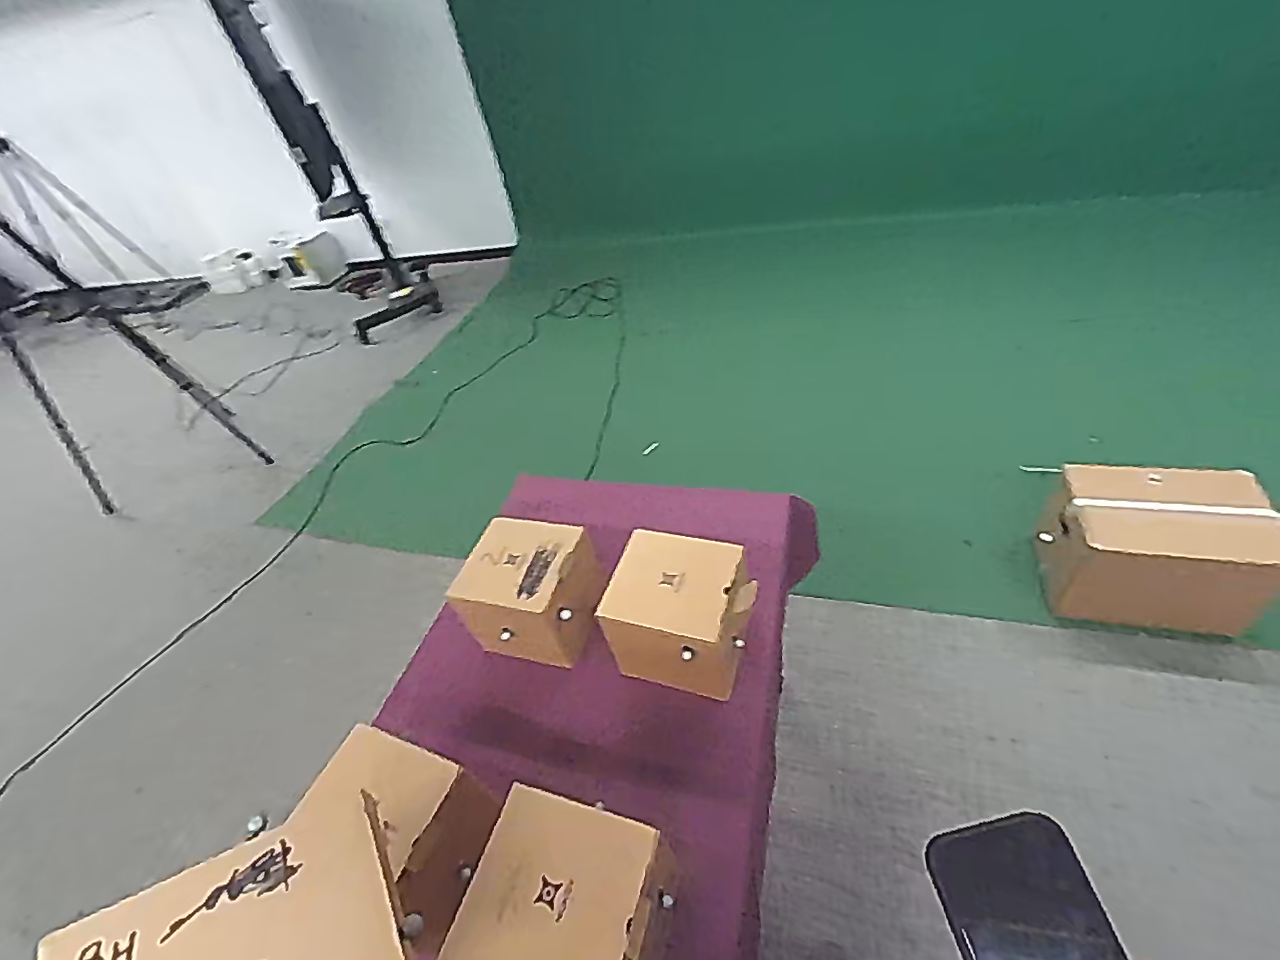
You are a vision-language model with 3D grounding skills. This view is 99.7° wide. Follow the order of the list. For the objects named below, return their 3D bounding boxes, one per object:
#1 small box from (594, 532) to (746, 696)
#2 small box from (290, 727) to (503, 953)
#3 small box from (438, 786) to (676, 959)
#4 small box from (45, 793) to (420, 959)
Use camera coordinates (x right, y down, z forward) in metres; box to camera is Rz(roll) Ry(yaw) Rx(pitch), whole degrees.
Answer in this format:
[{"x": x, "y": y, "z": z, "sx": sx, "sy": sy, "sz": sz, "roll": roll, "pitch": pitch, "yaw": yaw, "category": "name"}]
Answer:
[{"x": 0.056, "y": 0.204, "z": 0.825, "sx": 0.179, "sy": 0.176, "sz": 0.168, "roll": 7, "pitch": 46, "yaw": 22, "category": "small box"}, {"x": -0.301, "y": 0.442, "z": 0.666, "sx": 0.179, "sy": 0.176, "sz": 0.168, "roll": 8, "pitch": 47, "yaw": 23, "category": "small box"}, {"x": -0.070, "y": 0.464, "z": 0.579, "sx": 0.179, "sy": 0.176, "sz": 0.168, "roll": 4, "pitch": 44, "yaw": 21, "category": "small box"}, {"x": -0.253, "y": 0.343, "z": 0.376, "sx": 0.168, "sy": 0.176, "sz": 0.179, "roll": -15, "pitch": 69, "yaw": -30, "category": "small box"}]
